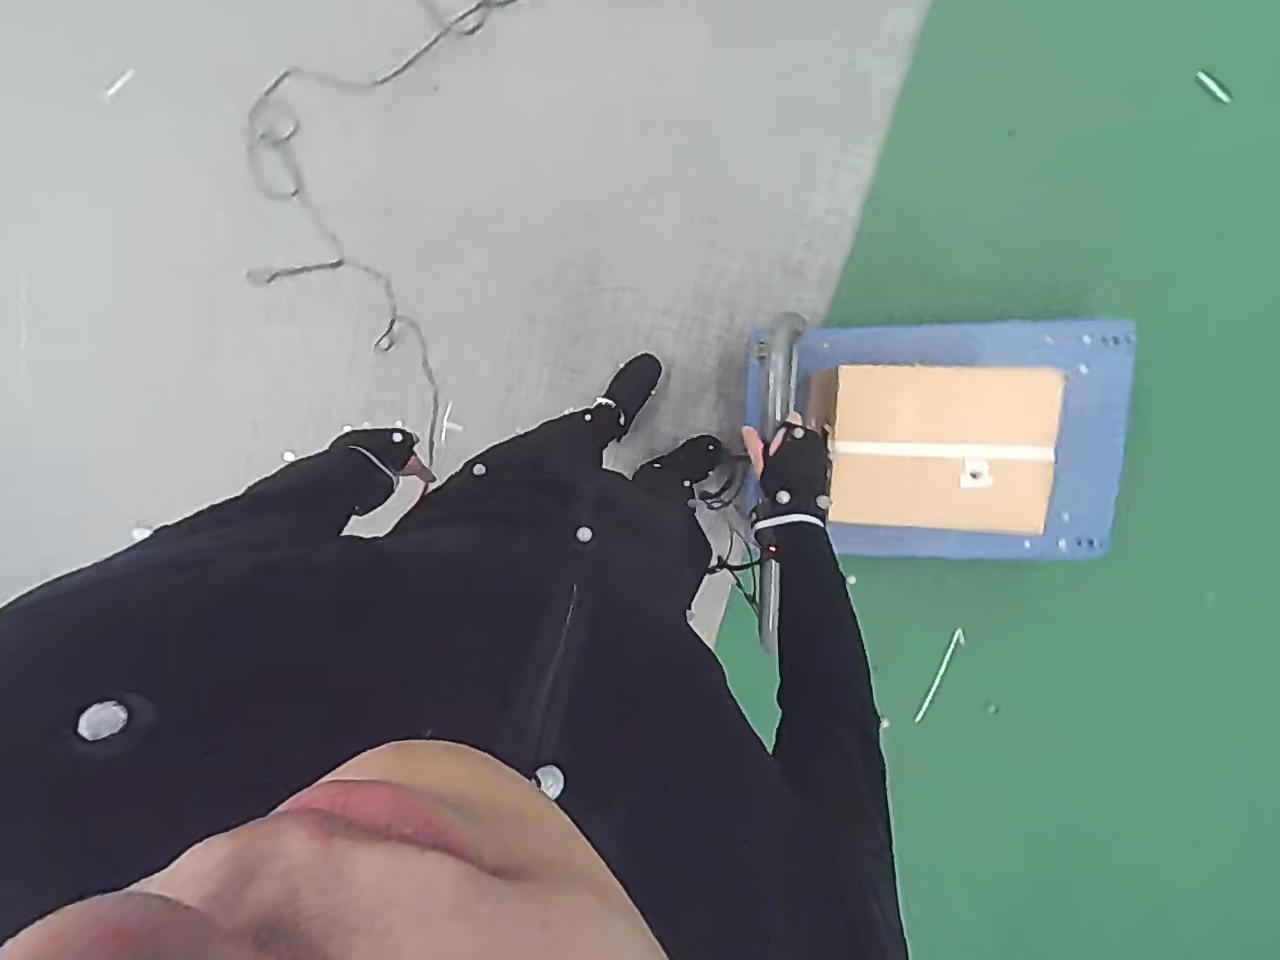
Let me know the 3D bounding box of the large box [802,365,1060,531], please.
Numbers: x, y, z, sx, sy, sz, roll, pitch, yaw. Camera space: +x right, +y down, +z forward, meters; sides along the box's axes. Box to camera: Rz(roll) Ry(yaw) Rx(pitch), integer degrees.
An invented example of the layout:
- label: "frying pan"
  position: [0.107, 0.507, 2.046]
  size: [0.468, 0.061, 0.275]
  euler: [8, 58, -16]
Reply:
- label: "large box"
  position: [0.591, -0.083, 1.187]
  size: [0.408, 0.320, 0.320]
  euler: [3, 101, 6]
